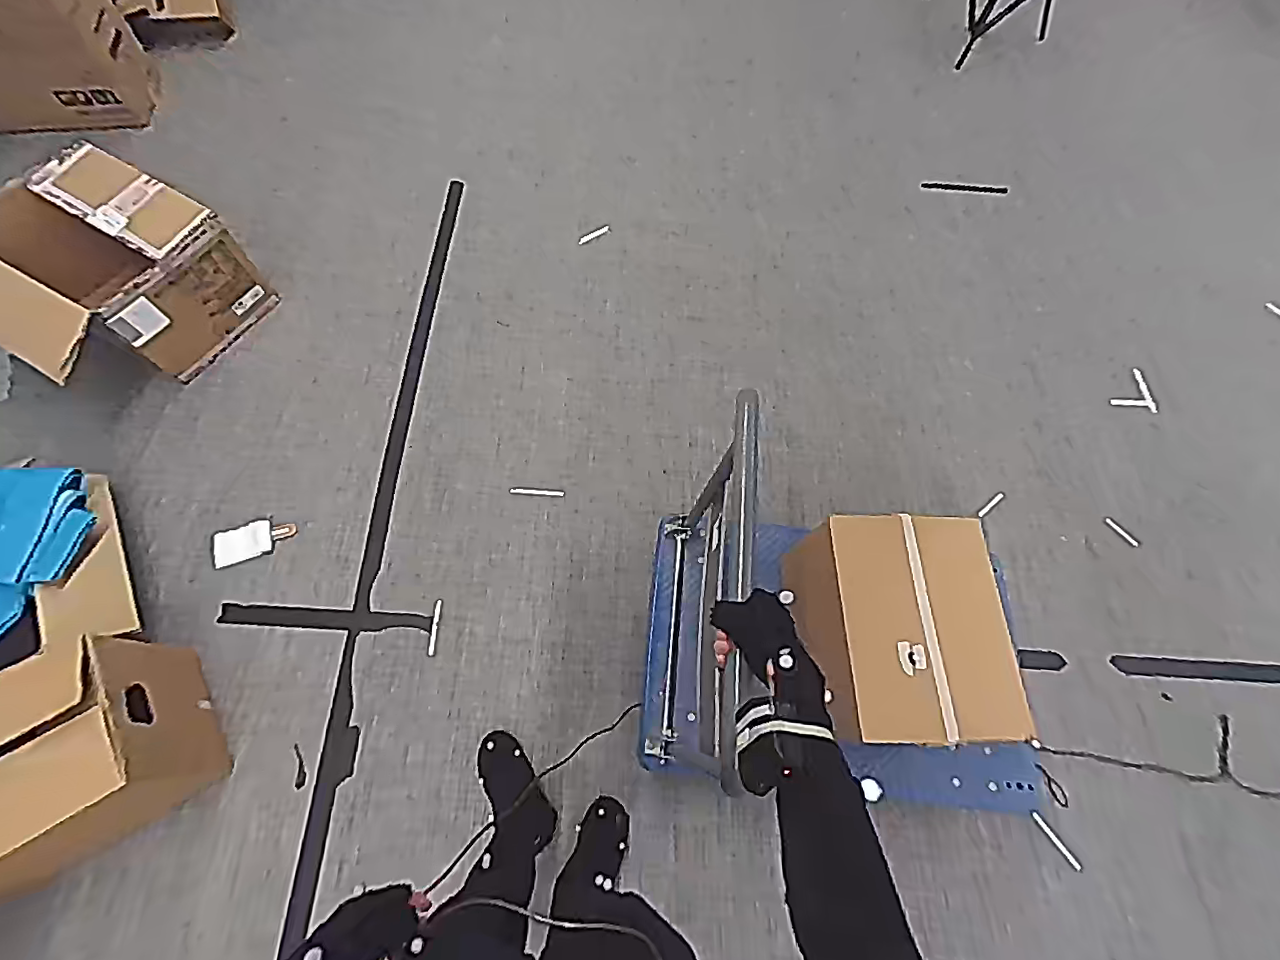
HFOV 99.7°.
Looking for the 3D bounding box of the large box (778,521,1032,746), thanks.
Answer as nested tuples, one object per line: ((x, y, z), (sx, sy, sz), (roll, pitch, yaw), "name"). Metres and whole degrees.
((0.506, 0.320, 1.129), (0.320, 0.320, 0.408), (1, 67, -4), "large box")
